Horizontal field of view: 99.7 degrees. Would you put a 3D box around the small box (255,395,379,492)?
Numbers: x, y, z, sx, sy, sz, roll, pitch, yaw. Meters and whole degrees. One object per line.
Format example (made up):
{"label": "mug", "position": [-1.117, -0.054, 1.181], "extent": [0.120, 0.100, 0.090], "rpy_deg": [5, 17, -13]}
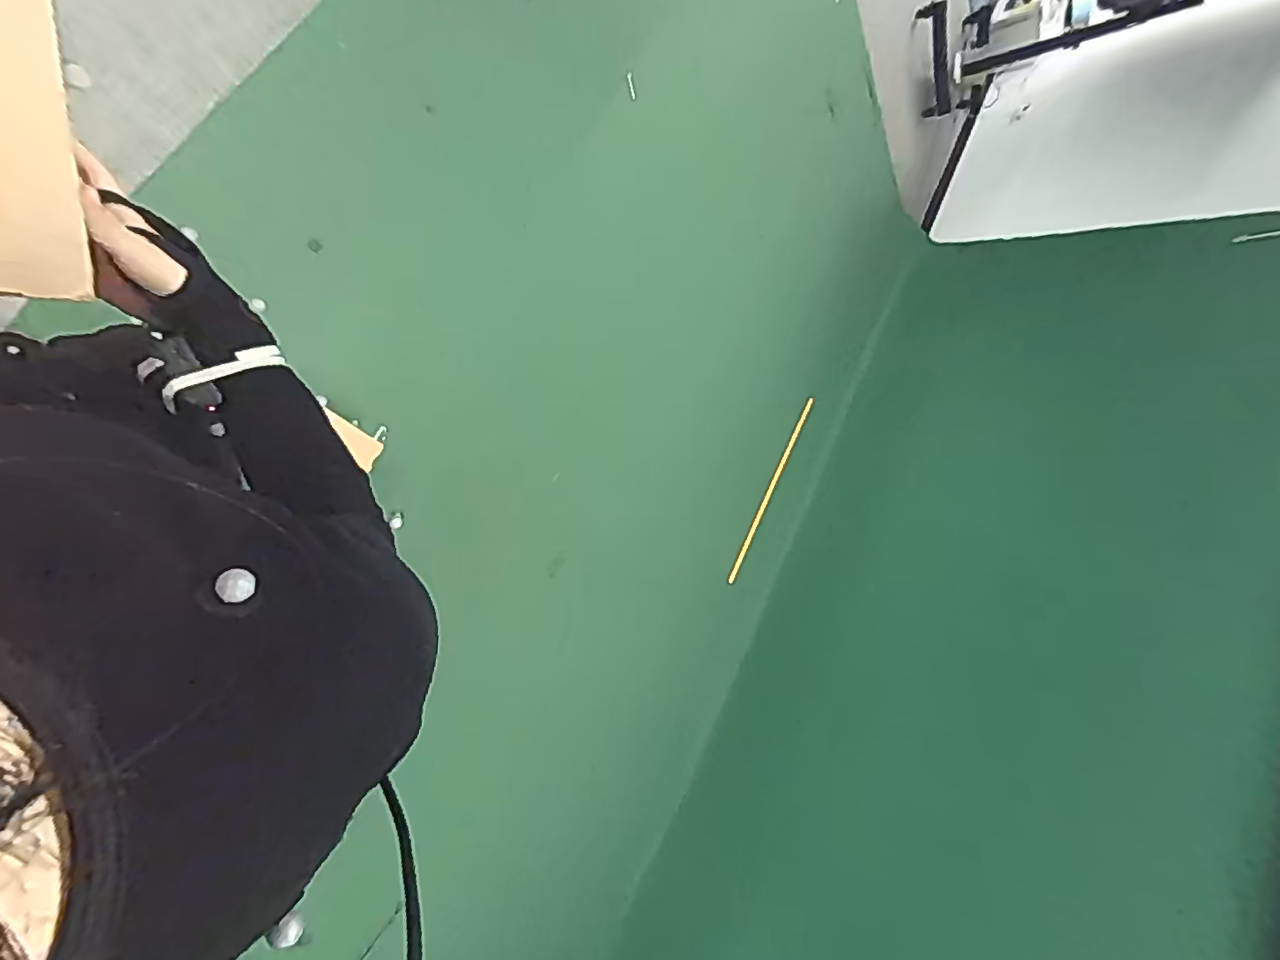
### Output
{"label": "small box", "position": [-0.786, -0.094, 1.313], "extent": [0.179, 0.176, 0.168], "rpy_deg": [45, 68, -45]}
